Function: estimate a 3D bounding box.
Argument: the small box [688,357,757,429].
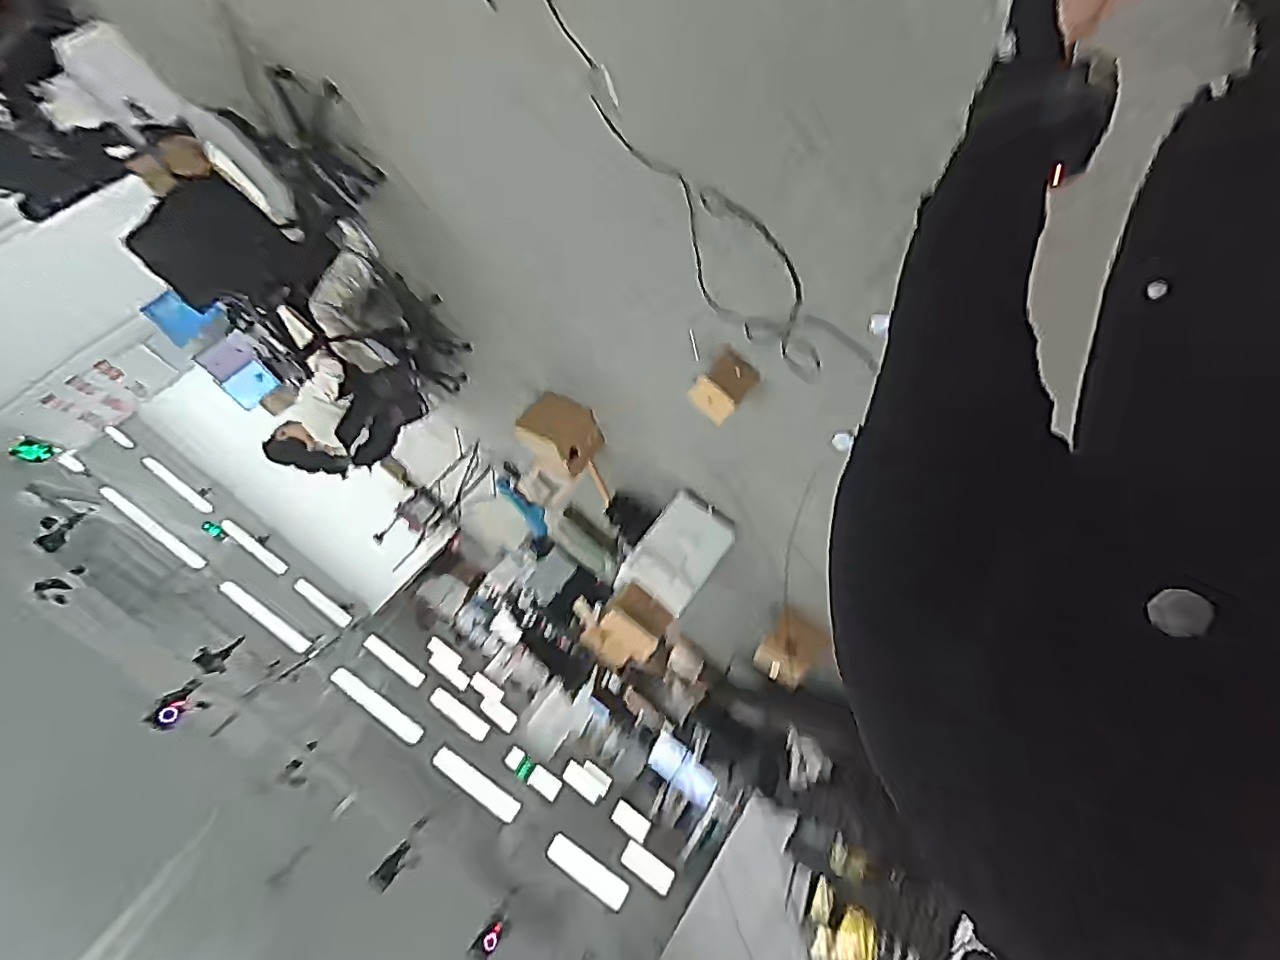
[{"bbox_3d":[0.316,-0.331,2.053,0.168,0.176,0.179,42,157,-1],"label":"small box"}]
